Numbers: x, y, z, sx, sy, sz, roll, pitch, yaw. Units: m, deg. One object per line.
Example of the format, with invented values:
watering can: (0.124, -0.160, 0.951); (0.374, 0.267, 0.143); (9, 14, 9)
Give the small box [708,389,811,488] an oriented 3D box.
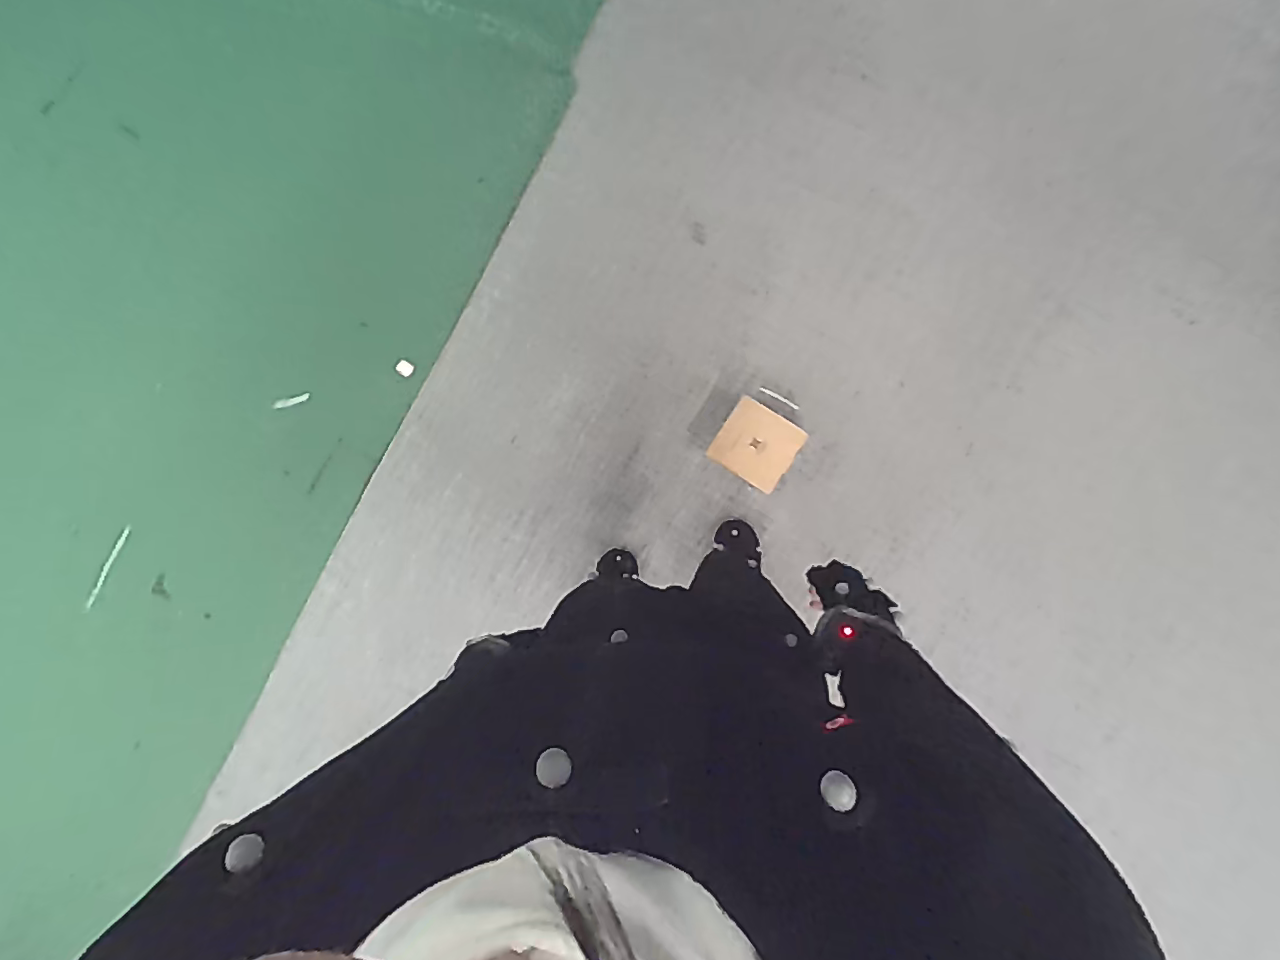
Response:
small box: (0.284, -0.097, 1.305); (0.179, 0.176, 0.168); (34, 95, 10)
